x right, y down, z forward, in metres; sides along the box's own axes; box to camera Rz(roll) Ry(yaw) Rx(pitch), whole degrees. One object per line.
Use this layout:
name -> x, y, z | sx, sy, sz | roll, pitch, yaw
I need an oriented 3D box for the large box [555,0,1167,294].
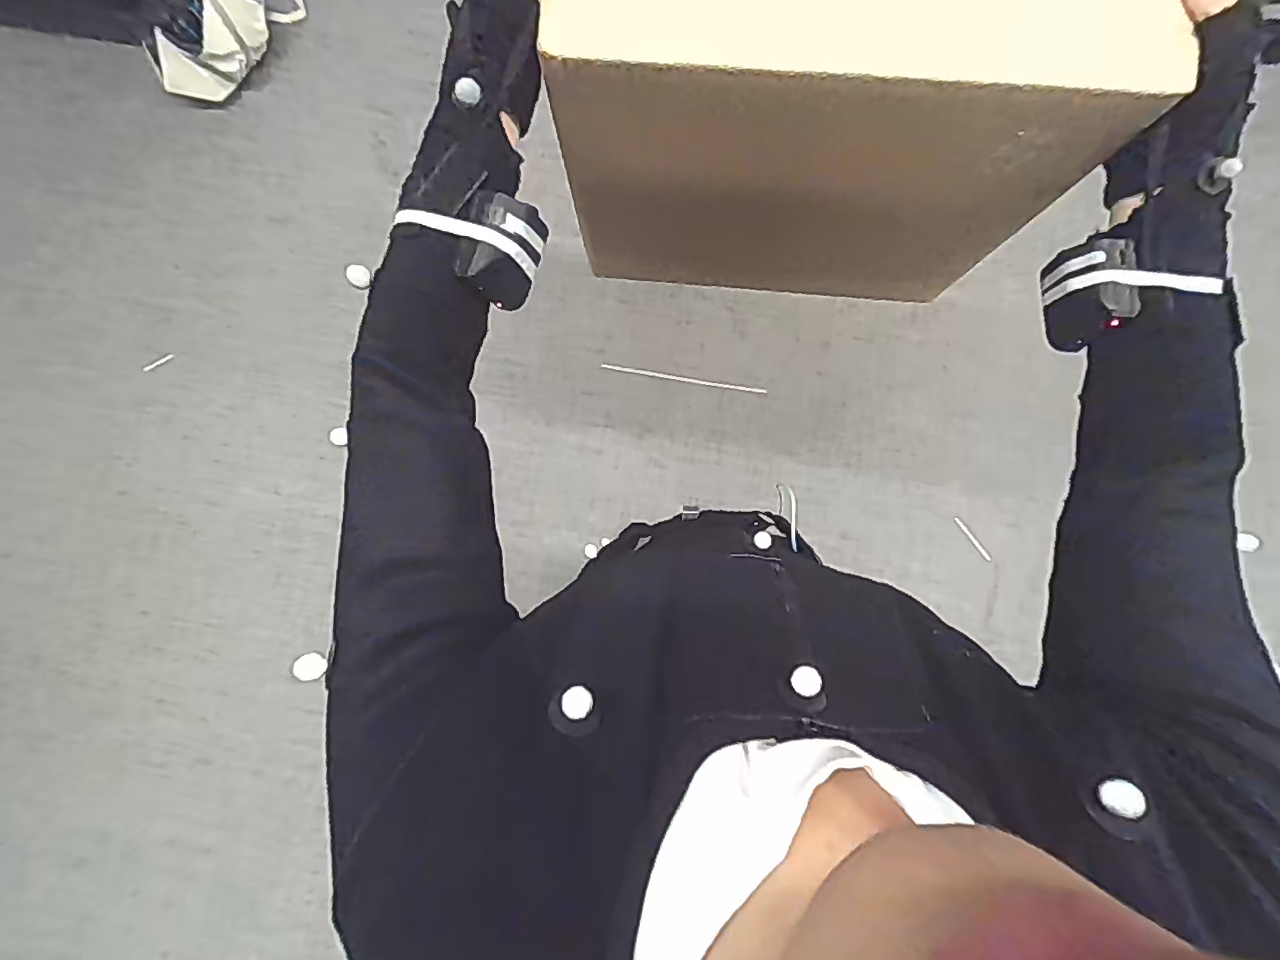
large box -> 0.149, -0.394, 0.512 | 0.408, 0.320, 0.320 | 4, 85, 1
